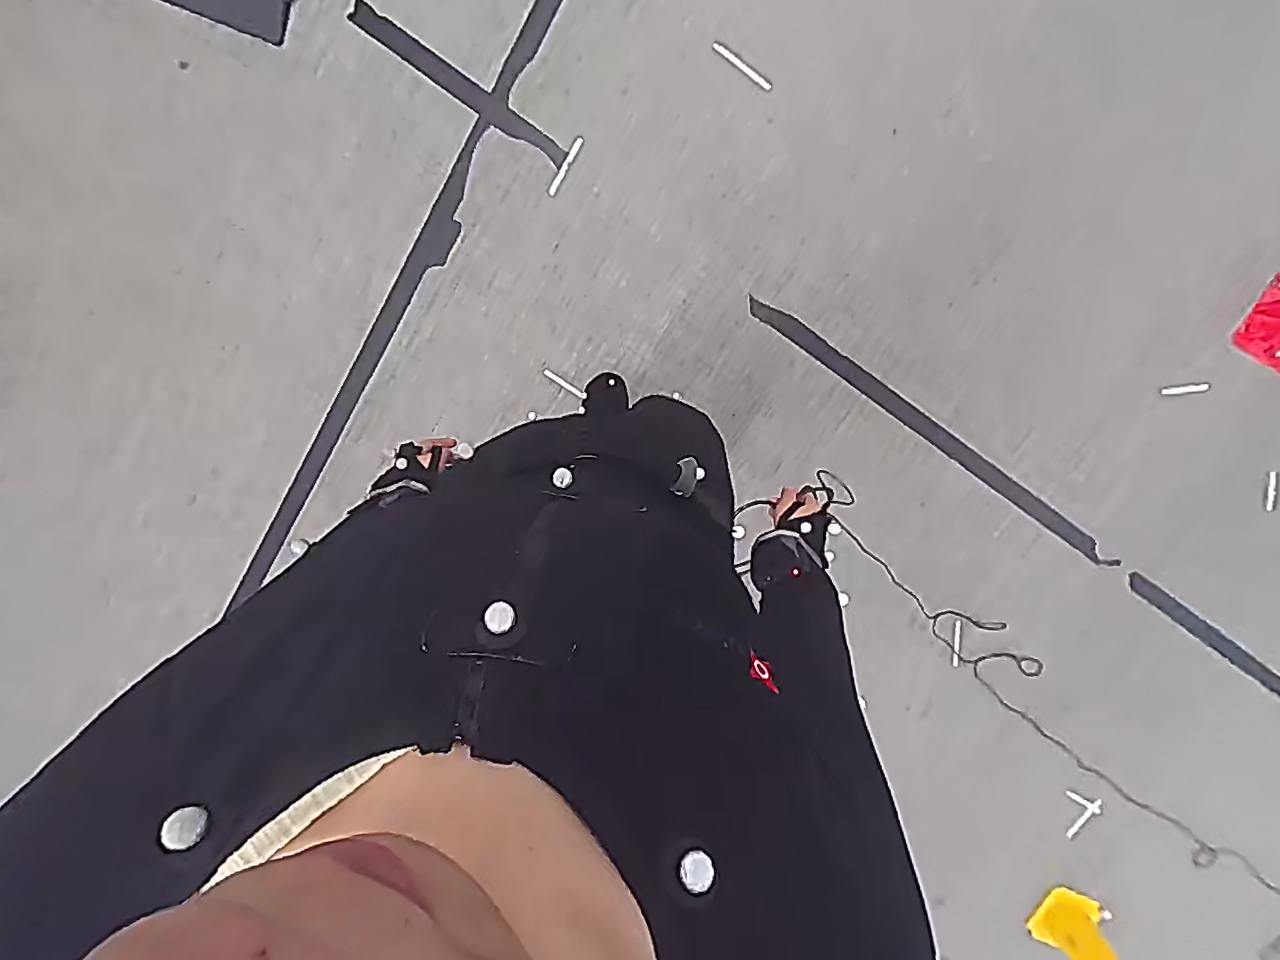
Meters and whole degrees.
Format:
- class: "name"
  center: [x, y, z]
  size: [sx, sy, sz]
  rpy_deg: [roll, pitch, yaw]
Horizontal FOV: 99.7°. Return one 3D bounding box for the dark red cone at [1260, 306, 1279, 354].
- class: "dark red cone"
  center: [1.609, -0.348, 1.131]
  size: [0.202, 0.394, 0.201]
  rpy_deg: [25, 102, -7]
